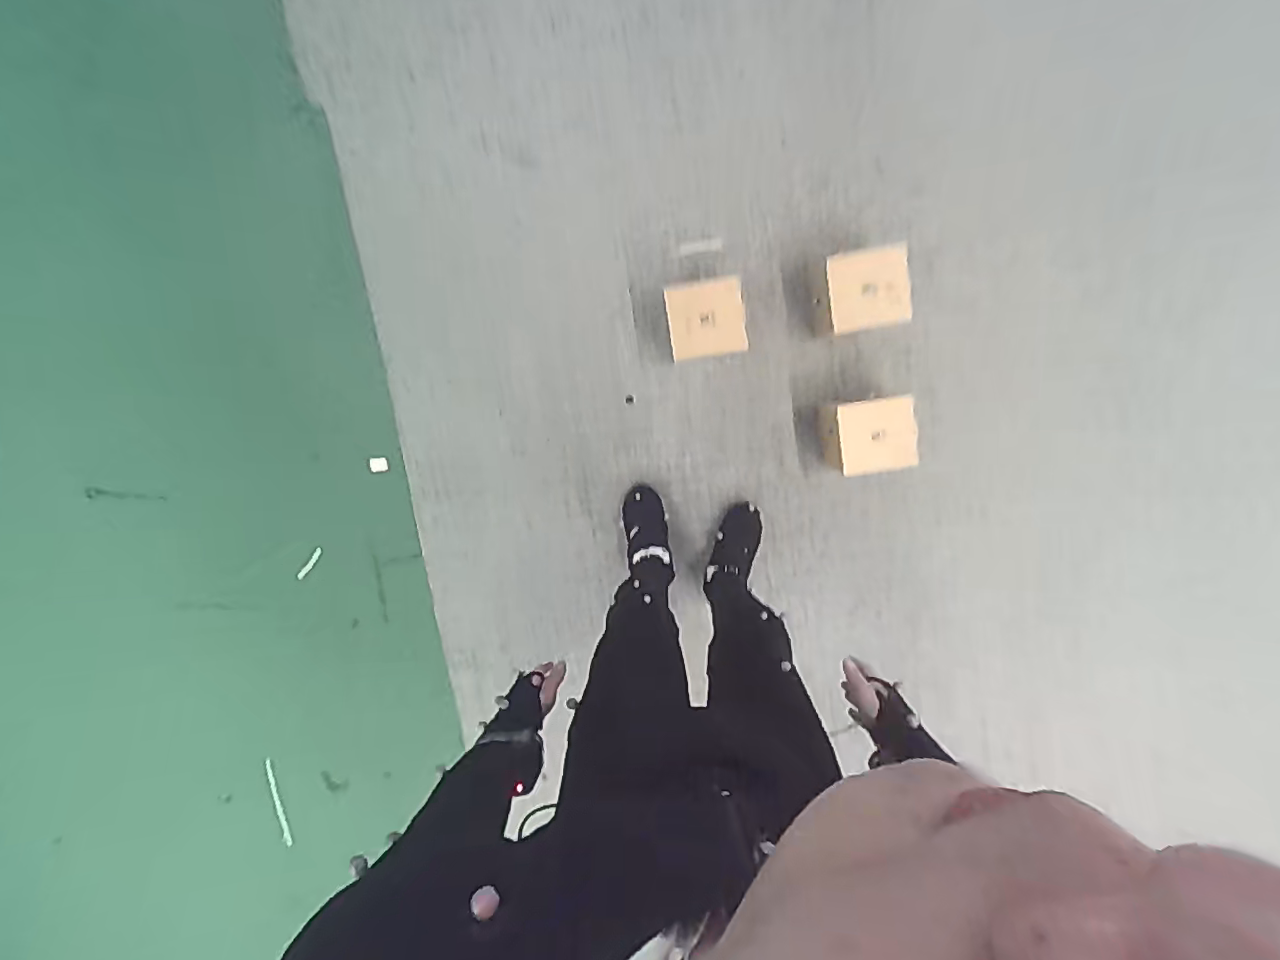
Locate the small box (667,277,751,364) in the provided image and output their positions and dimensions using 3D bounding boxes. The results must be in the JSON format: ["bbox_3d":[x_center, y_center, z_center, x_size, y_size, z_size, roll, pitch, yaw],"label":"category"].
[{"bbox_3d":[0.161,-0.376,1.298,0.179,0.176,0.168,-7,98,5],"label":"small box"}]

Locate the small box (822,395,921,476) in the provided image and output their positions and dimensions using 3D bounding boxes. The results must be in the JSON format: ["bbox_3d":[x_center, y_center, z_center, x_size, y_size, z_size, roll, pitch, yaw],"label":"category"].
[{"bbox_3d":[0.554,-0.111,1.318,0.179,0.176,0.168,-9,98,4],"label":"small box"}]

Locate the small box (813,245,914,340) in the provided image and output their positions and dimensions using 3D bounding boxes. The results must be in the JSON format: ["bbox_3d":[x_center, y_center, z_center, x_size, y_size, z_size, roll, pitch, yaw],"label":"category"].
[{"bbox_3d":[0.512,-0.429,1.264,0.179,0.176,0.168,-9,99,5],"label":"small box"}]
